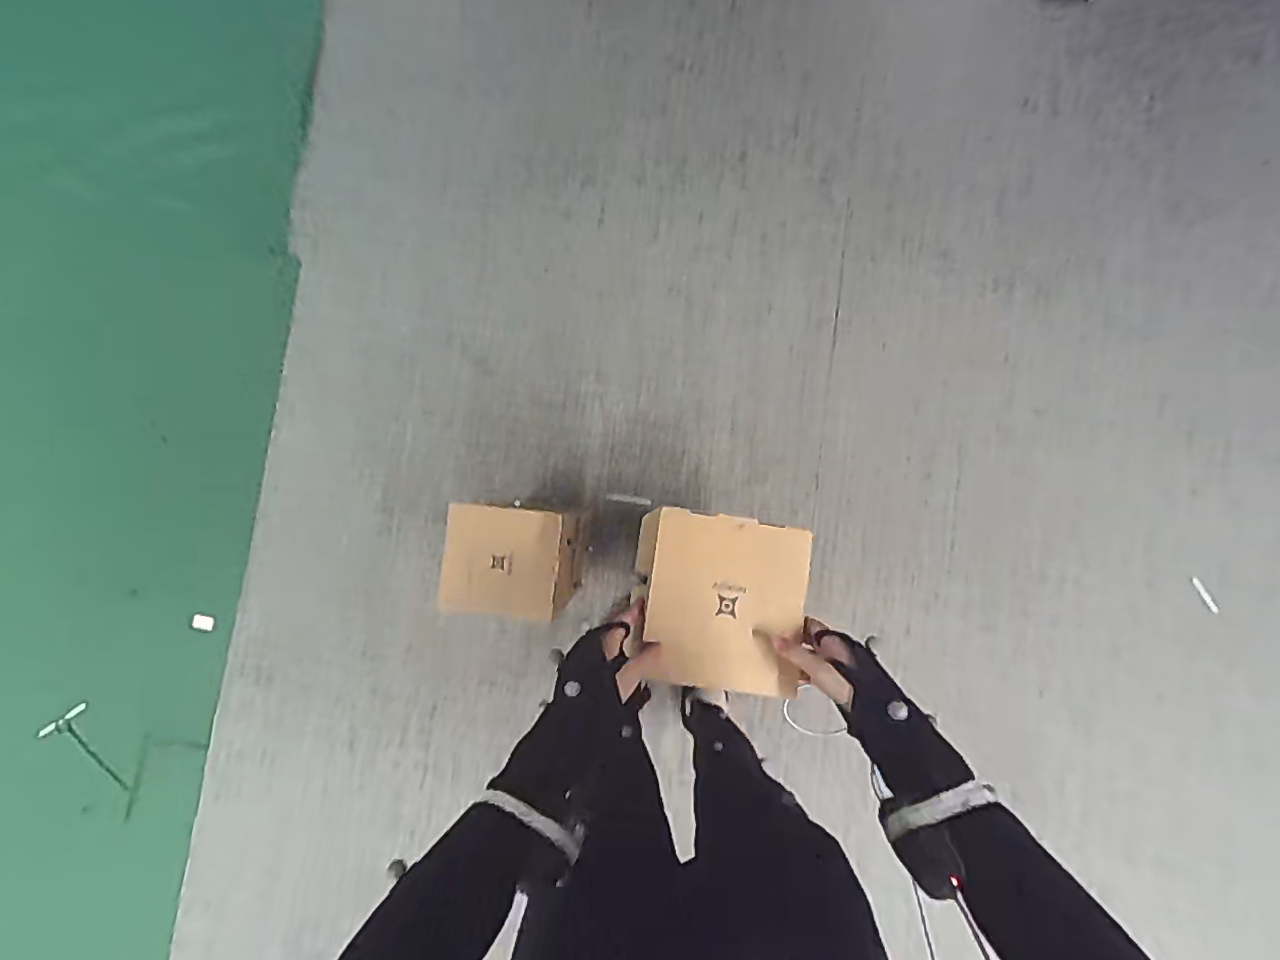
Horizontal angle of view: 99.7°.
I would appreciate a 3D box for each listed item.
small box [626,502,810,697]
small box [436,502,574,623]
[{"bbox_3d":[0.078,0.132,0.625,0.168,0.176,0.179,9,79,-4],"label":"small box"},{"bbox_3d":[-0.209,0.129,0.889,0.179,0.176,0.168,7,85,1],"label":"small box"}]
